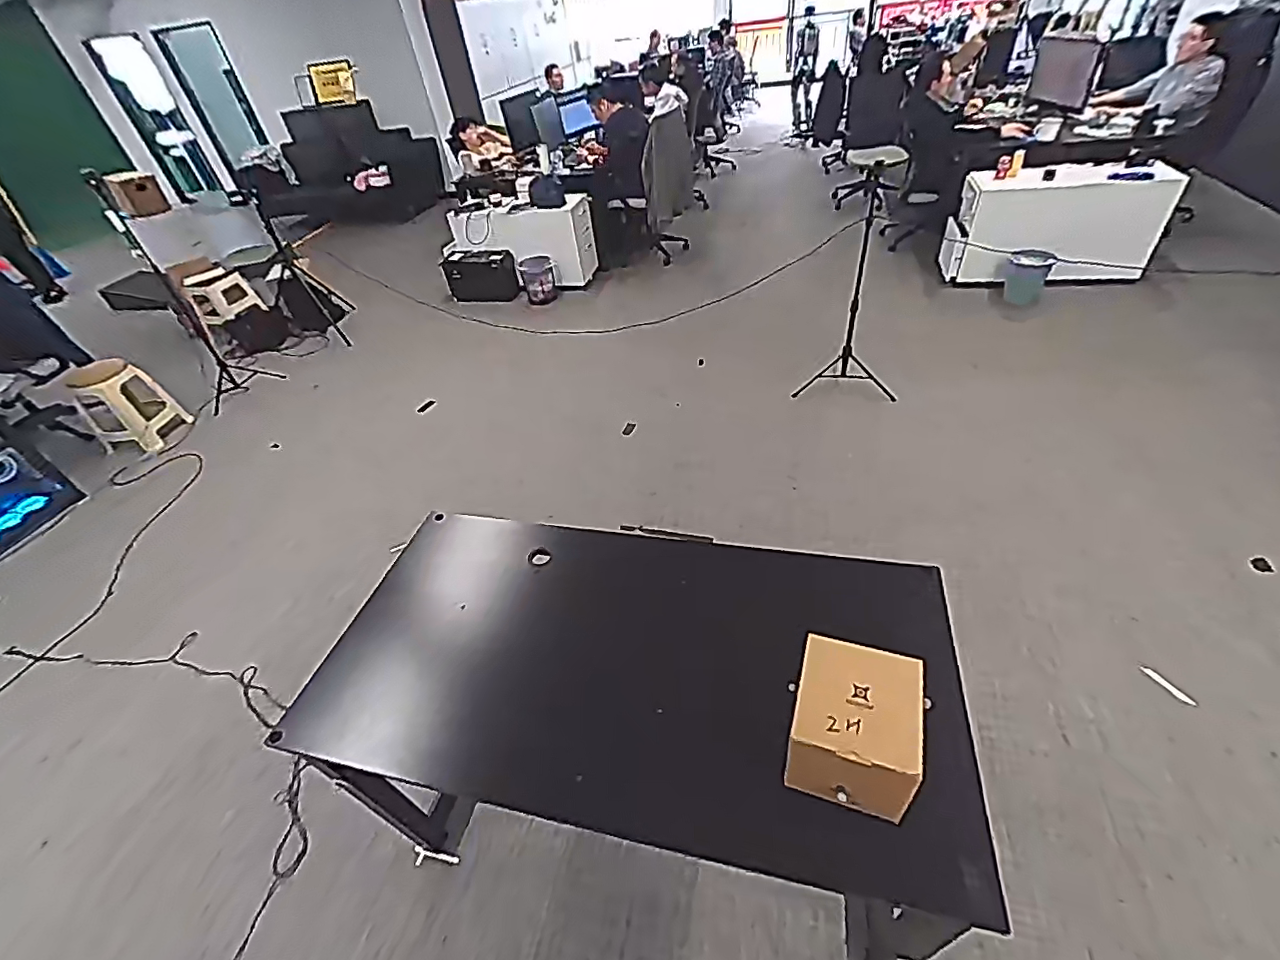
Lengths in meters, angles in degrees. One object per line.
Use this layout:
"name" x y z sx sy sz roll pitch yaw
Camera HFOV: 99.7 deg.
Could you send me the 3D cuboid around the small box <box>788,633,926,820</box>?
"small box" 0.320 0.367 0.813 0.168 0.176 0.179 9 44 21
